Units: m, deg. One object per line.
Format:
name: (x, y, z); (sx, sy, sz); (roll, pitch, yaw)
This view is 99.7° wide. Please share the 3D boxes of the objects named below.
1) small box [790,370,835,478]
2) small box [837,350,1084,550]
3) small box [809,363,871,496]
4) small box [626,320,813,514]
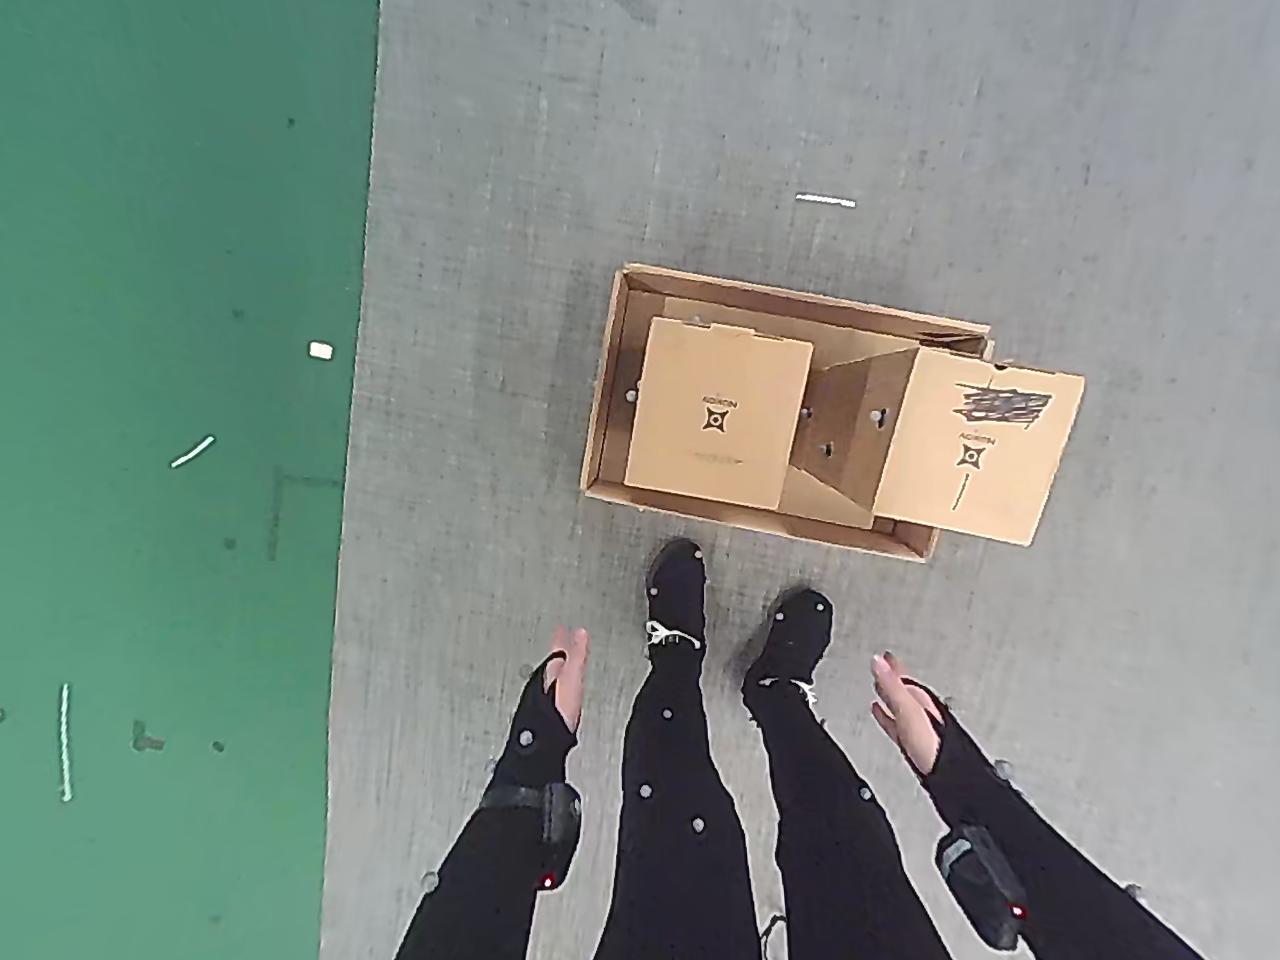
small box: (0.368, -0.088, 0.946); (0.168, 0.176, 0.179); (12, 100, 3)
small box: (0.343, -0.041, 0.621); (0.168, 0.176, 0.179); (12, 101, 4)
small box: (0.356, -0.063, 0.784); (0.168, 0.176, 0.179); (12, 100, 4)
small box: (0.083, -0.076, 0.632); (0.168, 0.176, 0.179); (10, 101, 2)
